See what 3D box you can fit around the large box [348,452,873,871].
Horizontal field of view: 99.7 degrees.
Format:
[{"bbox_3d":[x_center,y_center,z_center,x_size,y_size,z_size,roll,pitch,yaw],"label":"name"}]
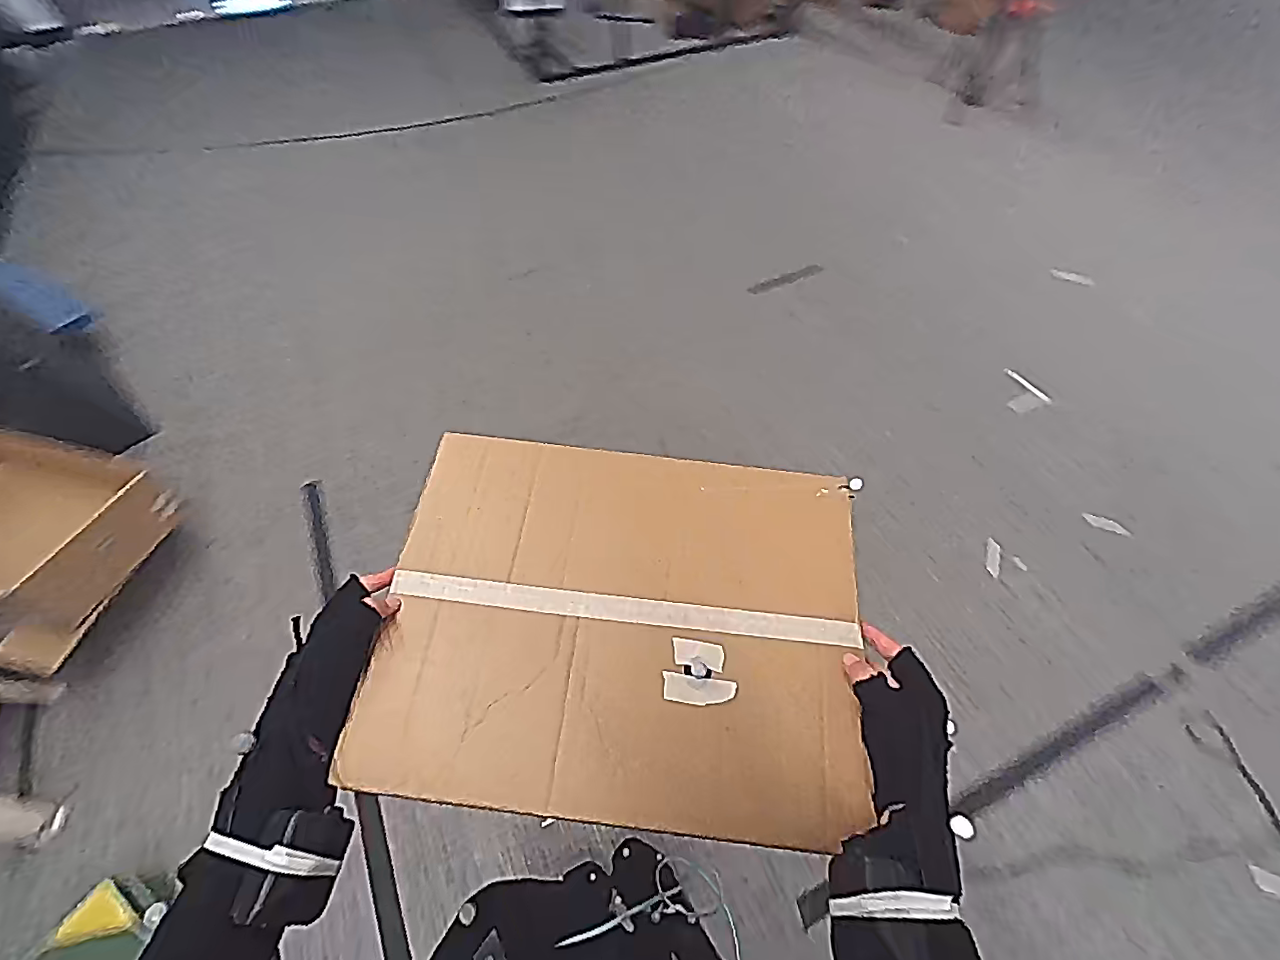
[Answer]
[{"bbox_3d":[-0.013,0.198,0.600,0.408,0.320,0.320,8,62,2],"label":"large box"}]
